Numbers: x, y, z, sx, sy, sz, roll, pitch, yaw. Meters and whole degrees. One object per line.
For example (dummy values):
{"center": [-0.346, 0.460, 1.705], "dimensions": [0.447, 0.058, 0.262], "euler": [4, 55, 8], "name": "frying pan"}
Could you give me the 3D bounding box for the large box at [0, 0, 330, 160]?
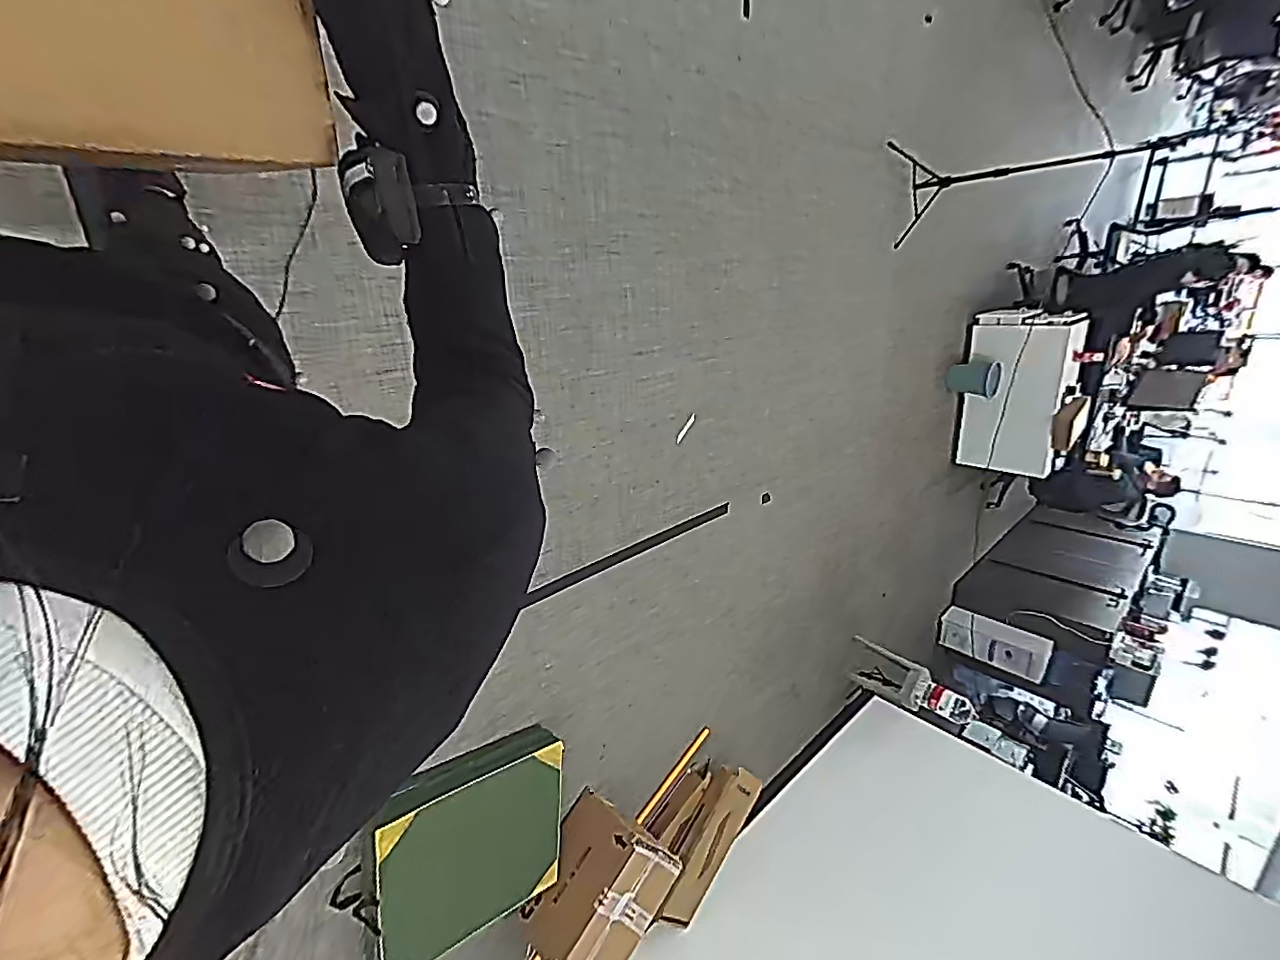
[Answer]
{"center": [-0.455, -0.356, 0.276], "dimensions": [0.408, 0.320, 0.320], "euler": [-22, 127, -39], "name": "large box"}
